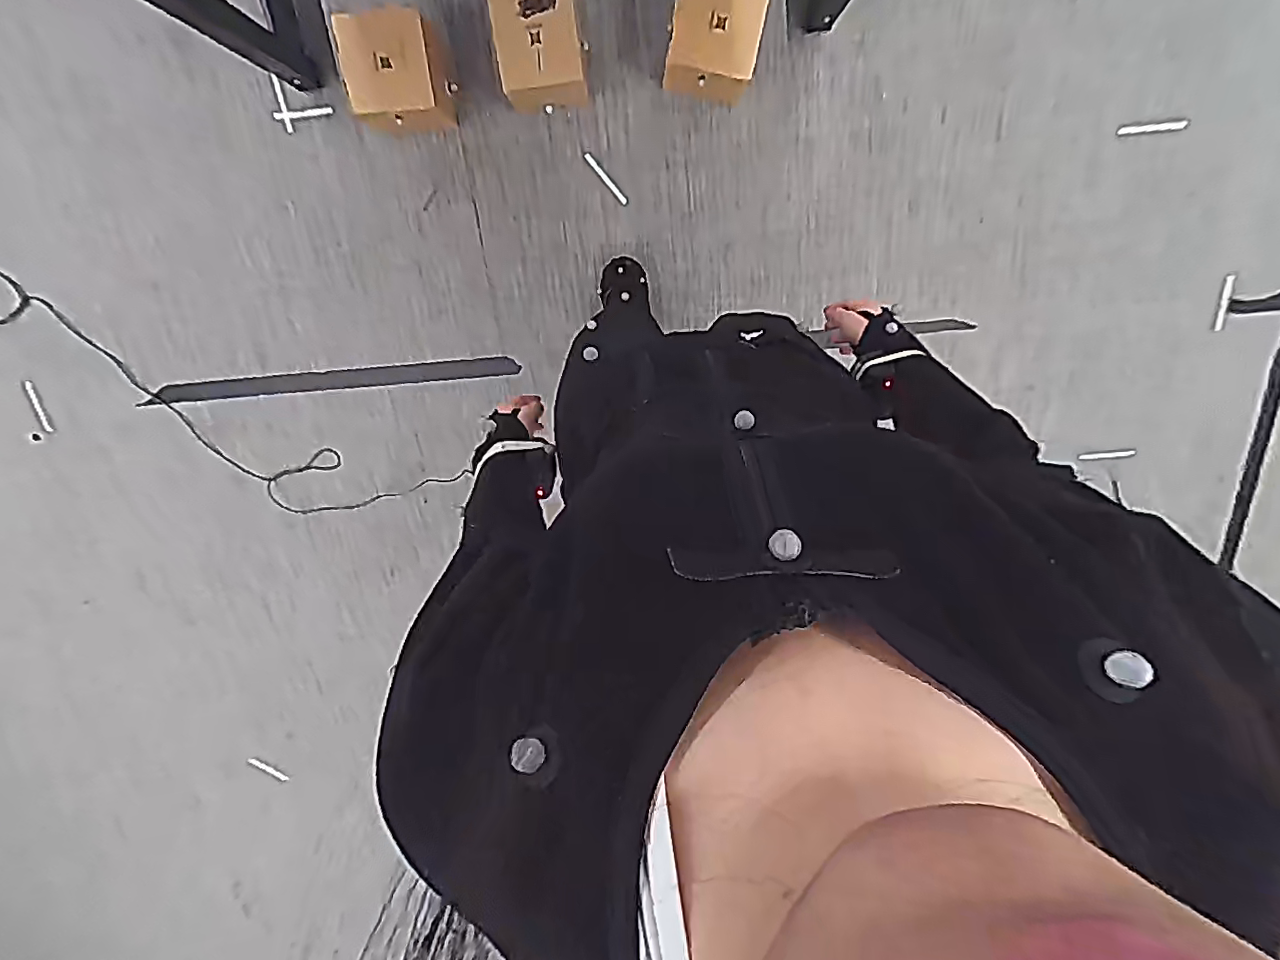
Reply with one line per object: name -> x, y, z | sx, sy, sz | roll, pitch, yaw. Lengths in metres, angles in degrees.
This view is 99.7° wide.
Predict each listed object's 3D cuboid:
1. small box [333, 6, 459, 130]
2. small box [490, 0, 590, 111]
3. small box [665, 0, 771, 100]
small box -> -0.503, -0.856, 1.140 | 0.179, 0.176, 0.168 | -3, 111, 0
small box -> -0.201, -0.900, 1.123 | 0.168, 0.176, 0.179 | -6, 111, 2
small box -> 0.155, -0.918, 1.119 | 0.179, 0.176, 0.168 | 11, 110, -3
